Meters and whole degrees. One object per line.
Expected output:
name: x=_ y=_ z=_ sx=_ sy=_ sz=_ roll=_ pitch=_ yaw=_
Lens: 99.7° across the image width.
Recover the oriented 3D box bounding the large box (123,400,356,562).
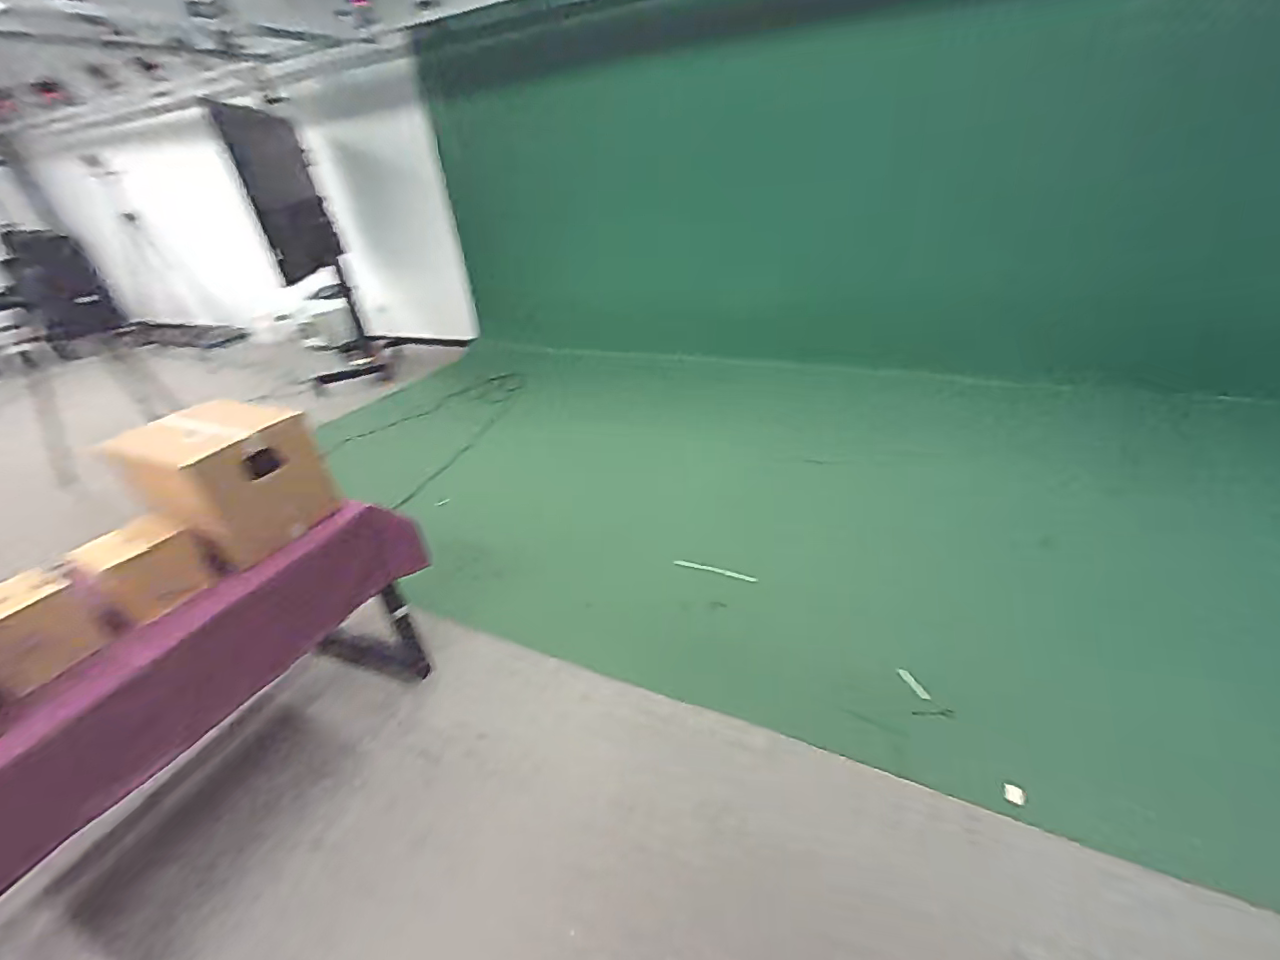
large box: x=-1.107 y=-0.011 z=1.527 sx=0.408 sy=0.320 sz=0.320 roll=11 pitch=35 yaw=24
